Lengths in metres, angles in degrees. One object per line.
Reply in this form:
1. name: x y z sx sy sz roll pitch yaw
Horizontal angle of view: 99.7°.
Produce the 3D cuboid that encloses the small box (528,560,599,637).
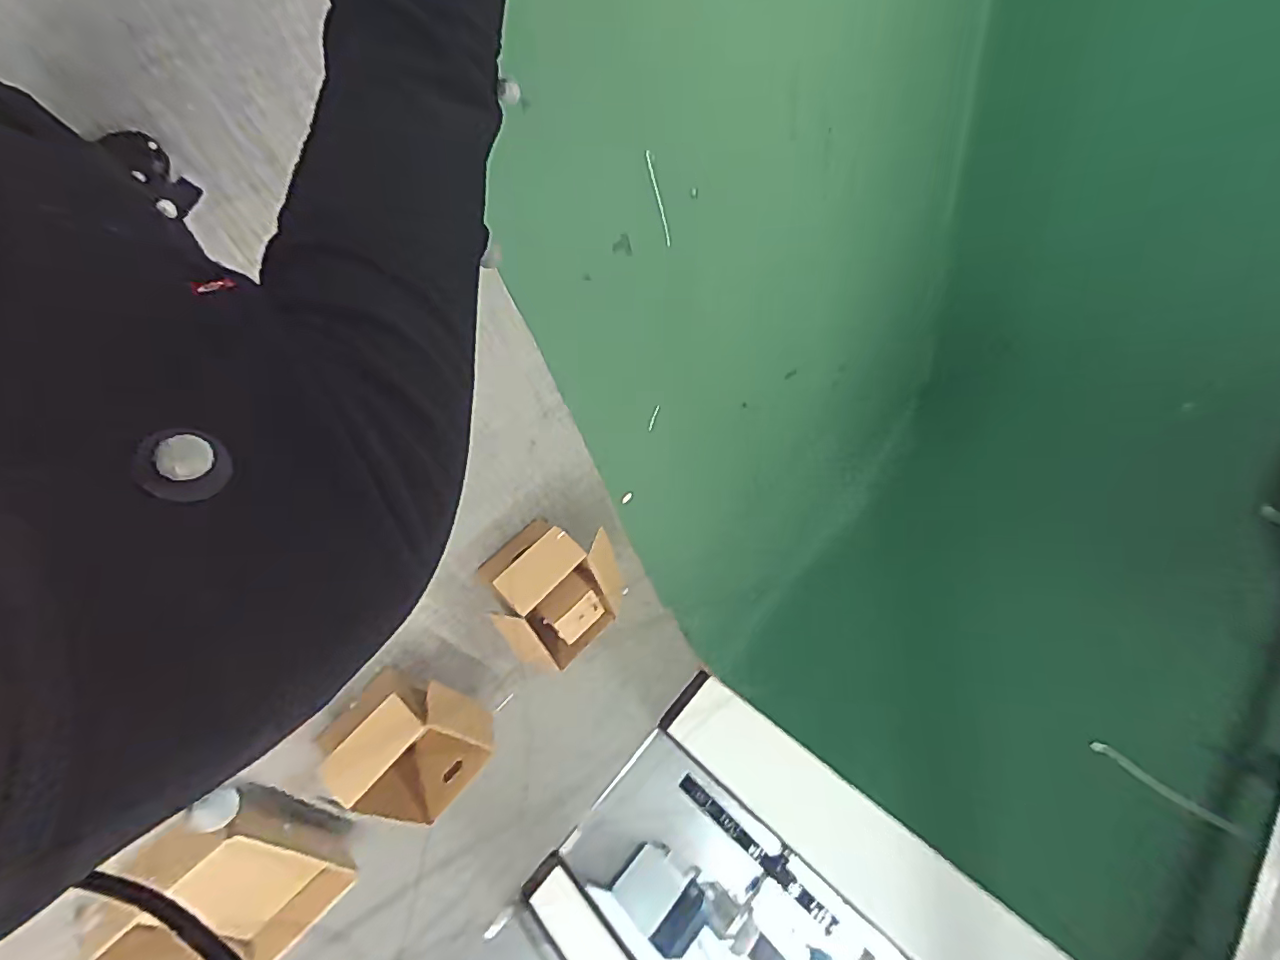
1. small box: -0.284 0.426 1.962 0.179 0.176 0.168 -40 141 -19
